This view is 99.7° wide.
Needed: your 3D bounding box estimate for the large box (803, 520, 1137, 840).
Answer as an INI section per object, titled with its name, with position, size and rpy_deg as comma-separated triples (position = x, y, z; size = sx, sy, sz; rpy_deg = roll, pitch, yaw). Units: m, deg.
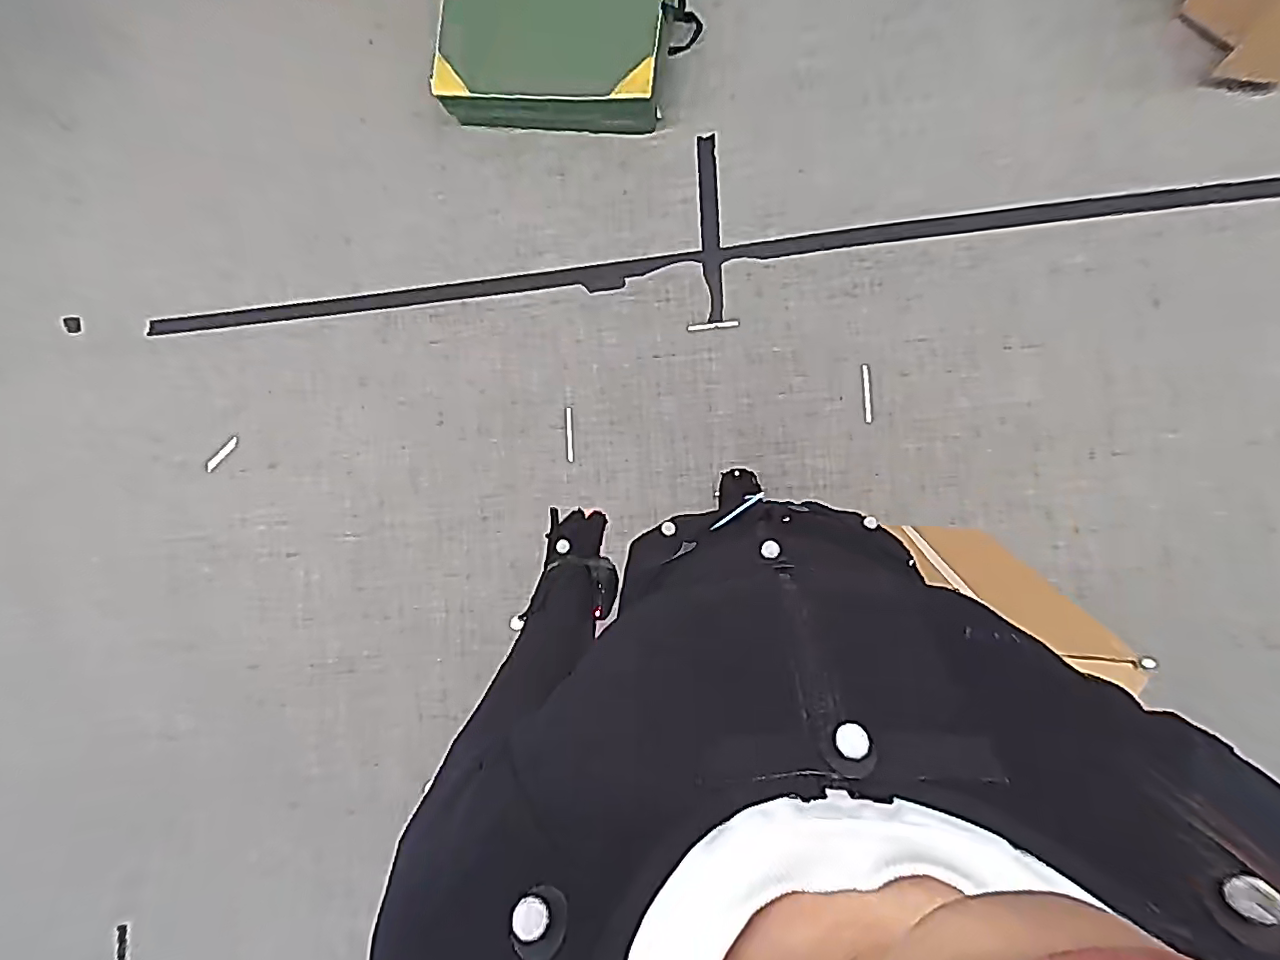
[large box]
position = 0.482, 0.297, 0.915
size = 0.320, 0.408, 0.320
rpy_deg = 3, 110, 7
